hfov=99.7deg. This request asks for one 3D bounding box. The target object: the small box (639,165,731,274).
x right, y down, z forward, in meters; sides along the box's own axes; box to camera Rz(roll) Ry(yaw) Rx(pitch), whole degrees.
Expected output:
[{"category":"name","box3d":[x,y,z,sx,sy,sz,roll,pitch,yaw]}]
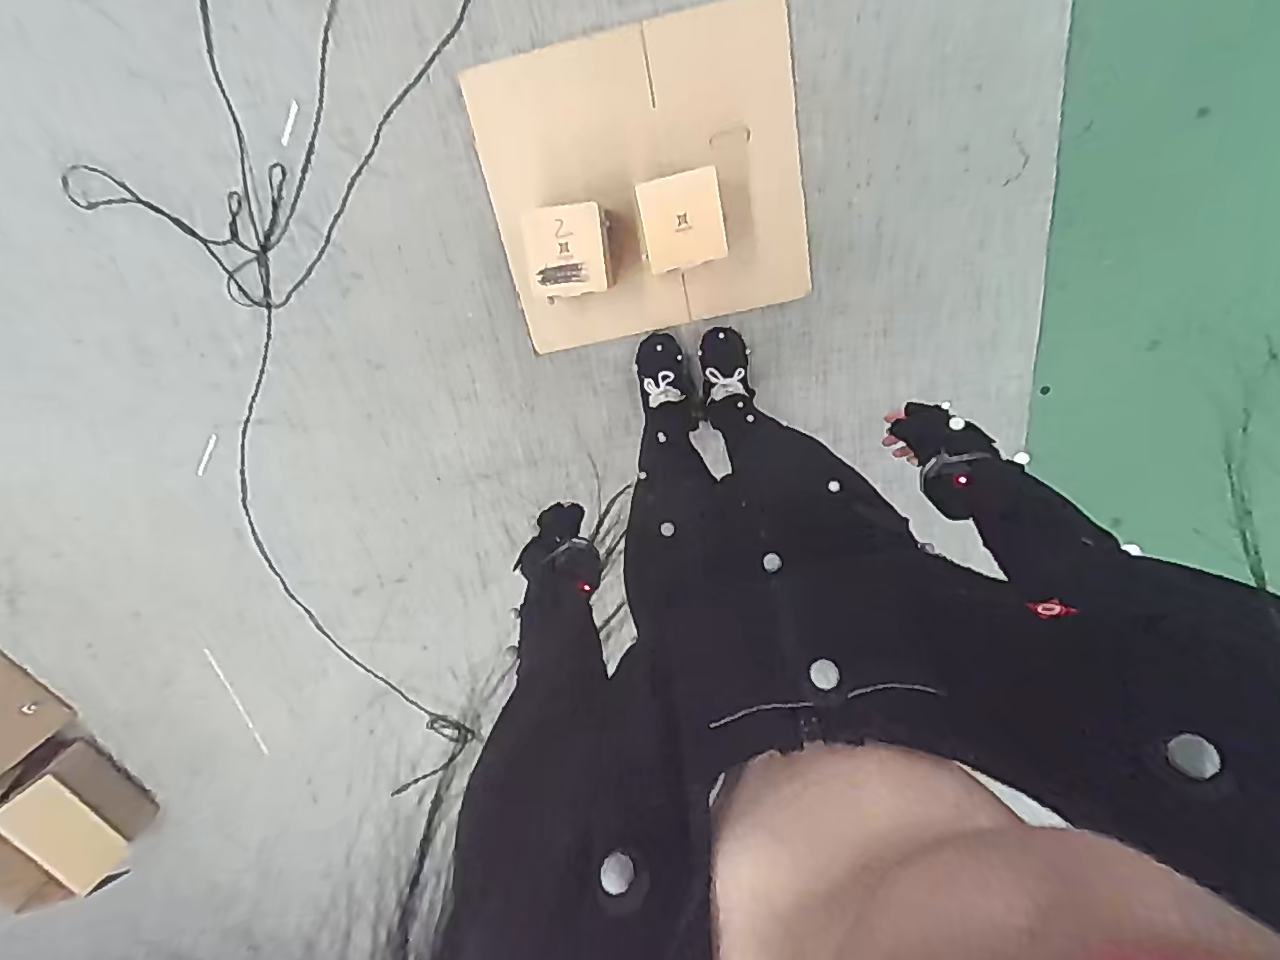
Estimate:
[{"category":"small box","box3d":[0.093,-0.556,1.175,0.168,0.176,0.179,-12,112,6]}]
